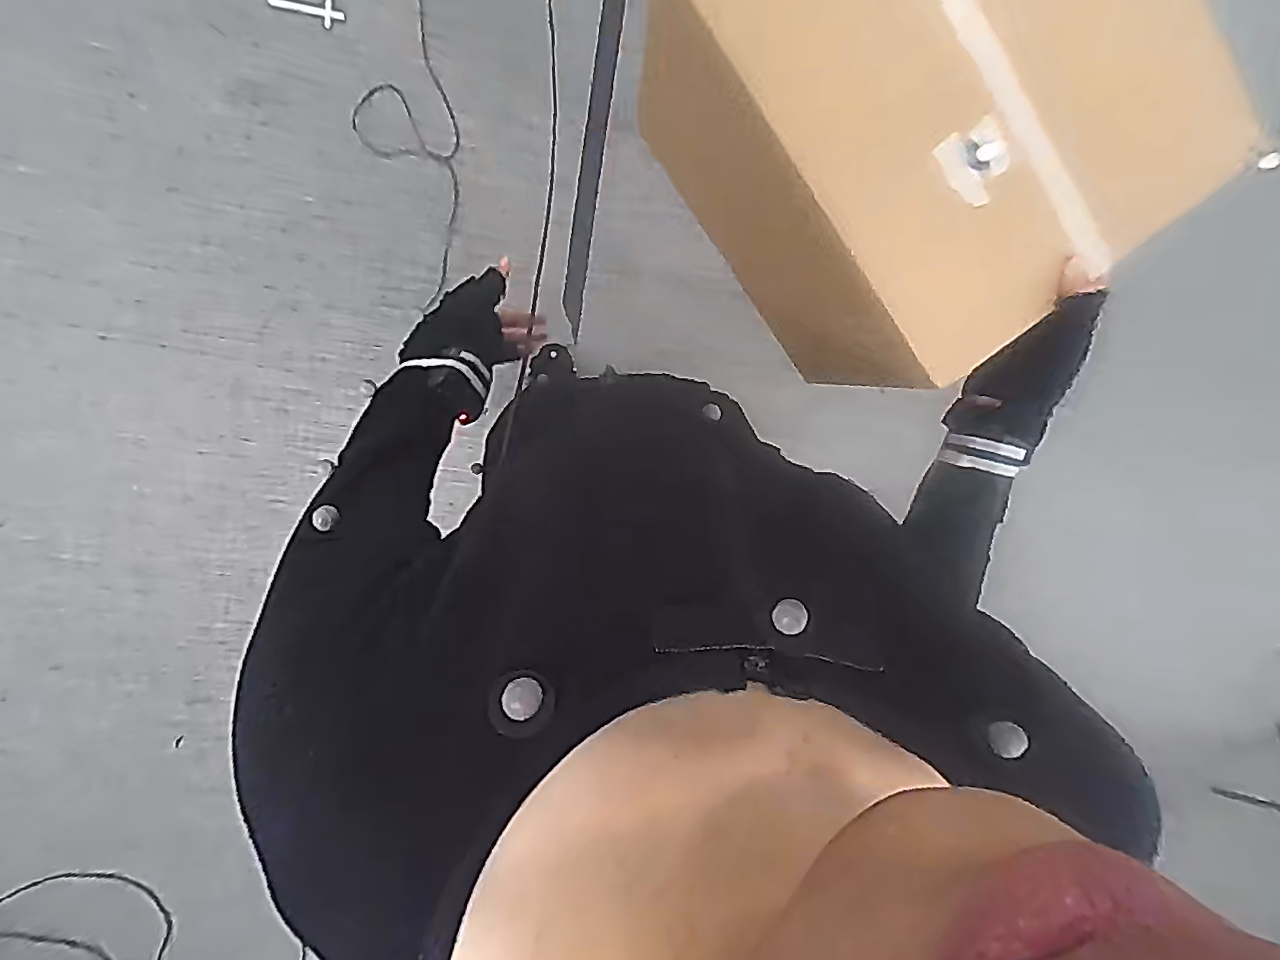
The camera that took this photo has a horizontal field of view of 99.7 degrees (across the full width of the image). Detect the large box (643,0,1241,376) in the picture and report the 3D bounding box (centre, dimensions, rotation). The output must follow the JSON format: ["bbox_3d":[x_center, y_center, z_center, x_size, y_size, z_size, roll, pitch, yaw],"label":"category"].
[{"bbox_3d":[0.248,-0.360,0.565,0.320,0.320,0.408,-37,101,5],"label":"large box"}]
